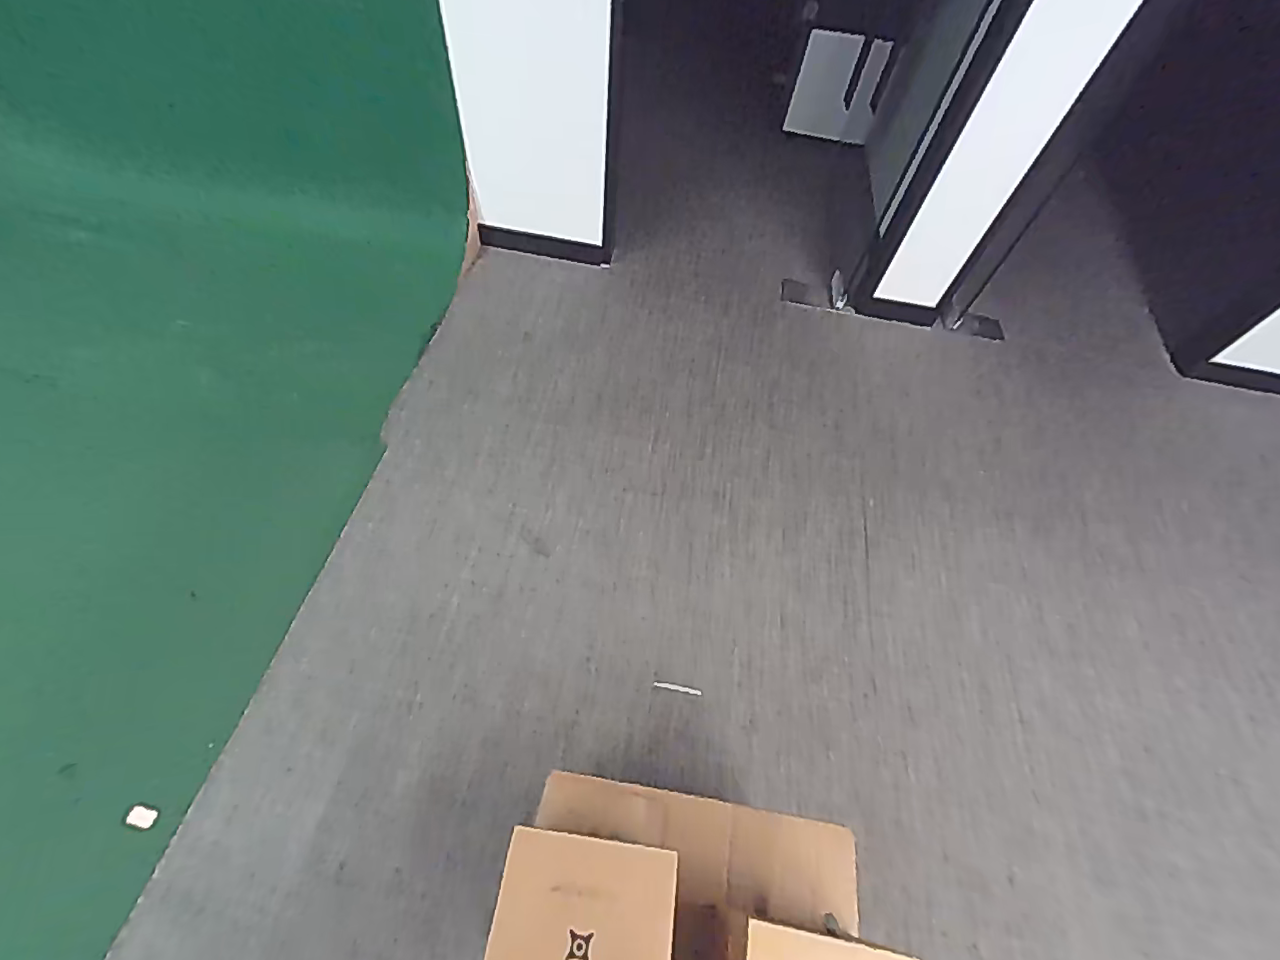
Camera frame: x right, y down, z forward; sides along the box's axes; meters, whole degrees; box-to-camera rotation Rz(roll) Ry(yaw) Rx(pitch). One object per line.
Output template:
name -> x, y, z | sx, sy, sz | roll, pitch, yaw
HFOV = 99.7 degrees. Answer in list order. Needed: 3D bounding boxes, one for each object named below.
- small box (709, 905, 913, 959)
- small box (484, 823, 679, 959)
small box -> 0.157, 0.544, 0.526 | 0.168, 0.176, 0.179 | 12, 58, 3
small box -> -0.059, 0.469, 0.544 | 0.168, 0.176, 0.179 | 9, 52, 2
